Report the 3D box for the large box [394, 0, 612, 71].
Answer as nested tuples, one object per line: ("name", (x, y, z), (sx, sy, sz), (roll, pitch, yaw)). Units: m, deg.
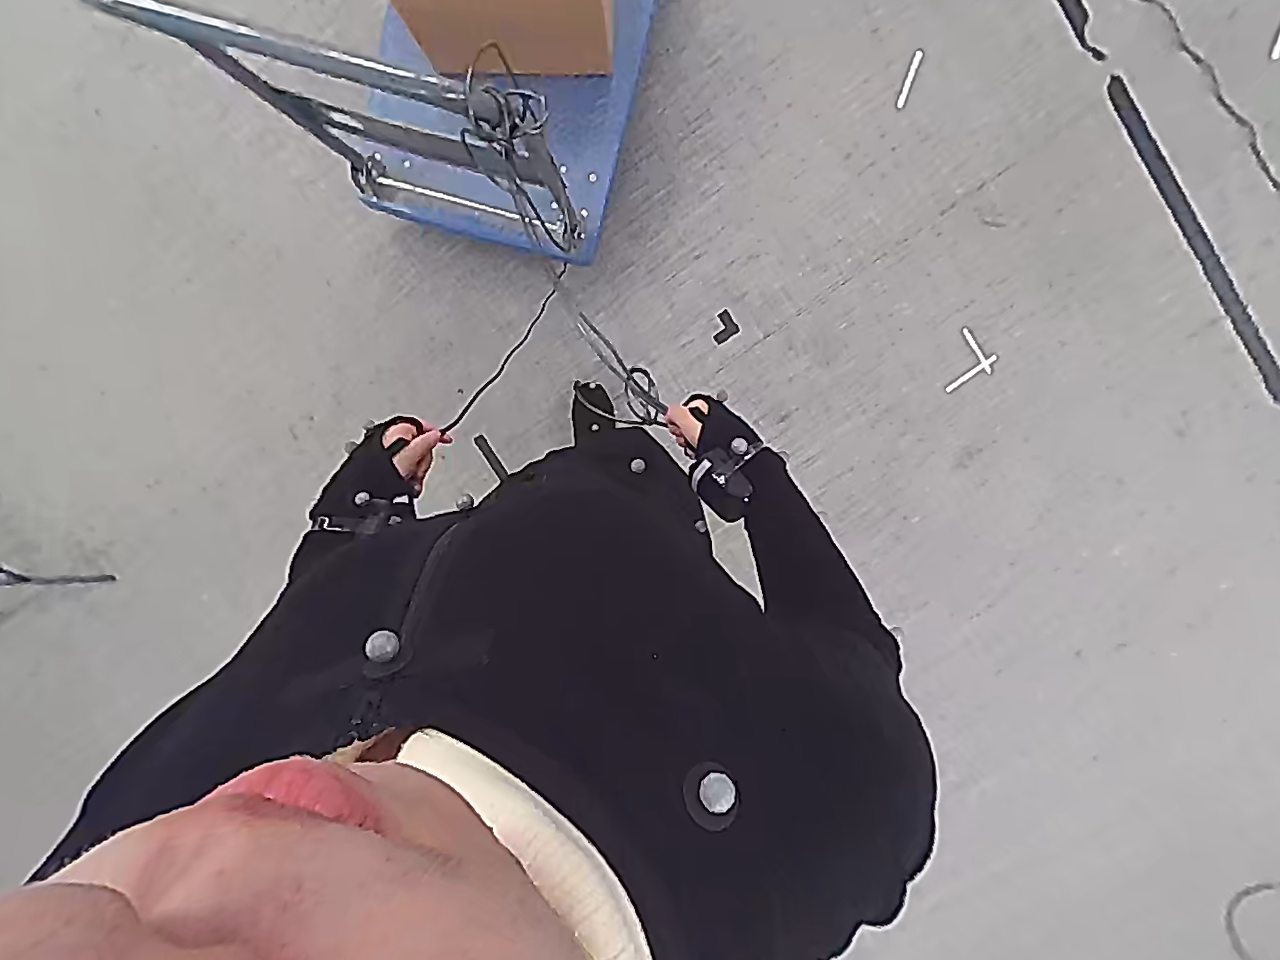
("large box", (-0.261, -1.042, 1.036), (0.408, 0.320, 0.320), (1, 98, 1))
